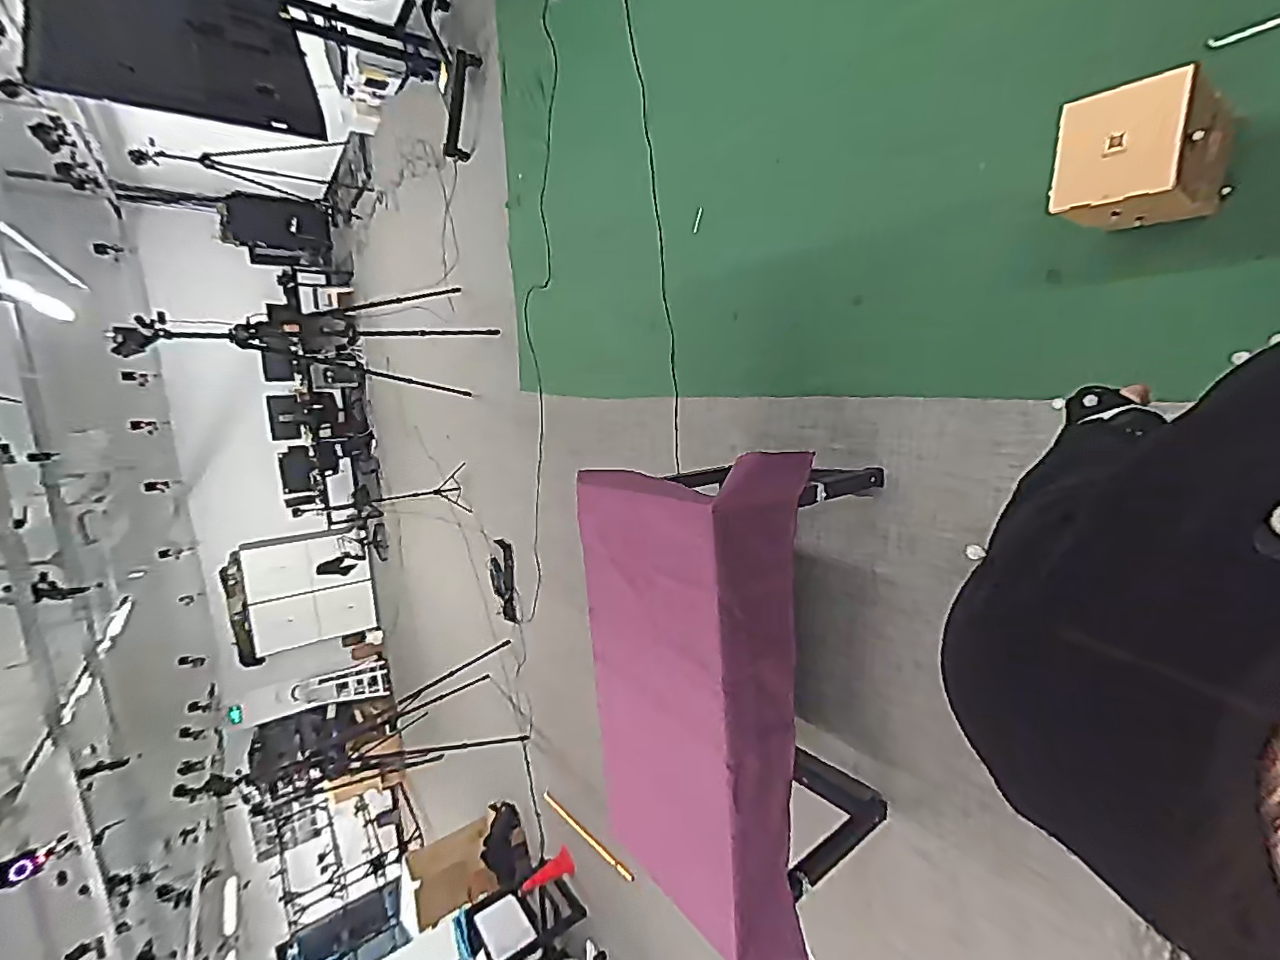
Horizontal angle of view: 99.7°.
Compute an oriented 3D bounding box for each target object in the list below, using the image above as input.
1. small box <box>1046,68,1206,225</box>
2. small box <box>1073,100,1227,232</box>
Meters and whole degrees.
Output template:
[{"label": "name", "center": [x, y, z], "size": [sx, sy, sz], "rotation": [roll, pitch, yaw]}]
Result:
[{"label": "small box", "center": [0.846, -0.562, 0.942], "size": [0.168, 0.176, 0.179], "rotation": [15, 110, 52]}, {"label": "small box", "center": [0.976, -0.587, 1.036], "size": [0.179, 0.176, 0.168], "rotation": [15, 110, 53]}]
